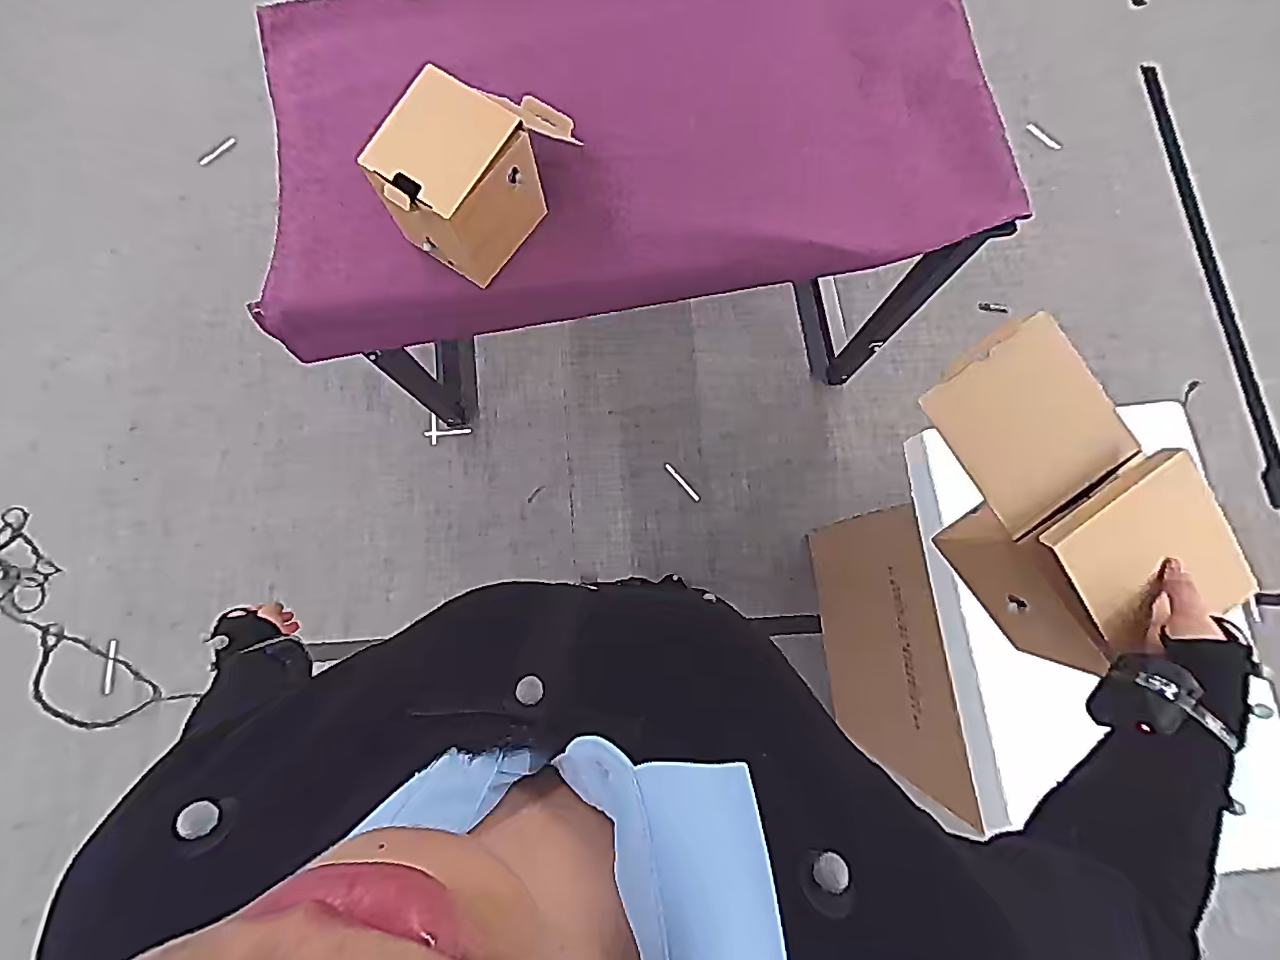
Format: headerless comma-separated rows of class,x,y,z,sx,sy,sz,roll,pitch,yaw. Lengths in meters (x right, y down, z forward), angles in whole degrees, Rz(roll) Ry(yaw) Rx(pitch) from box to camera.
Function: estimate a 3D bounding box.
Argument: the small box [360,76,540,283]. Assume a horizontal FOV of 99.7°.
small box,-0.270,-0.443,0.820,0.168,0.176,0.179,34,80,8
